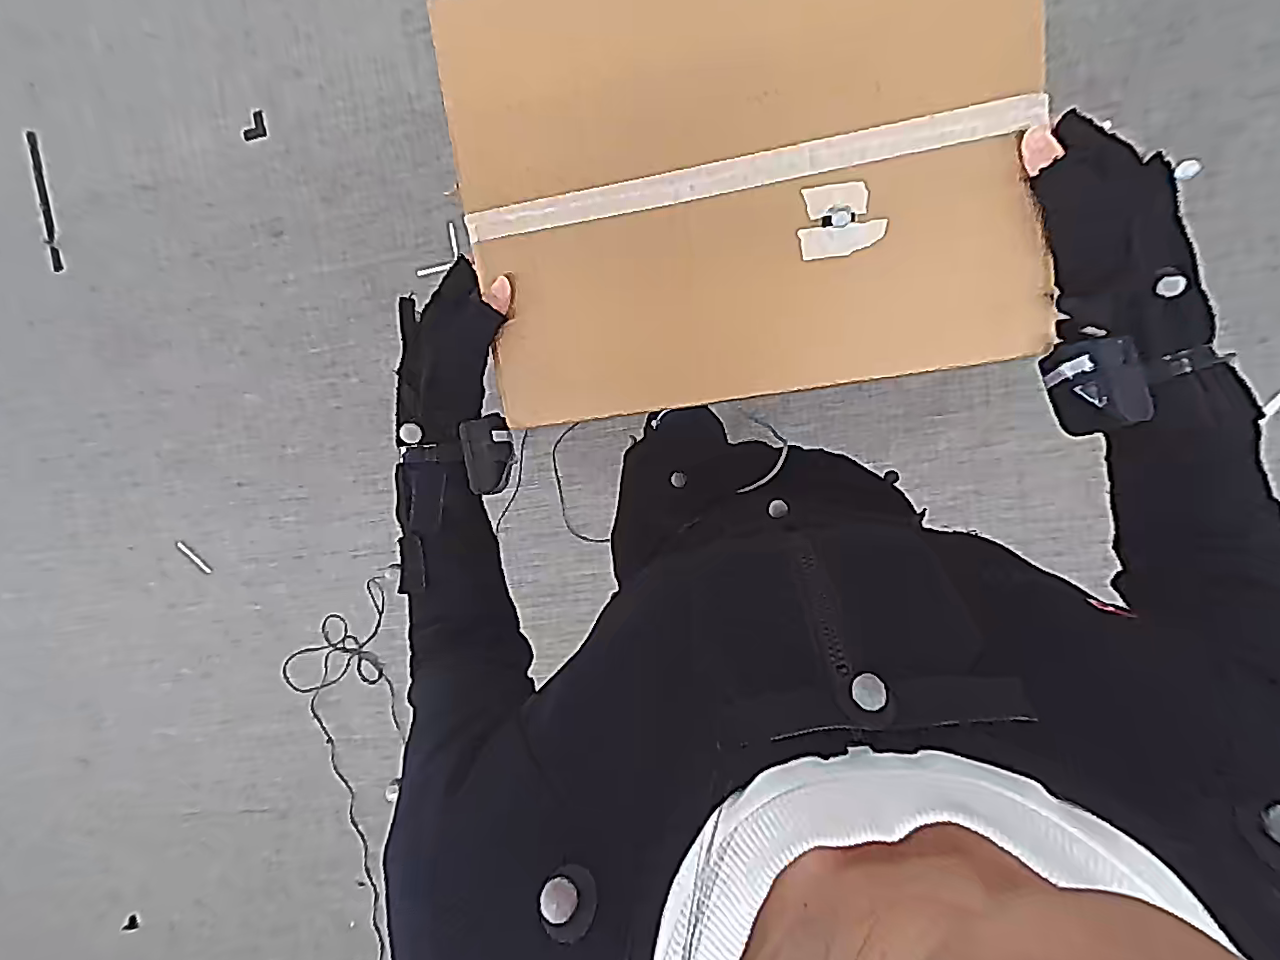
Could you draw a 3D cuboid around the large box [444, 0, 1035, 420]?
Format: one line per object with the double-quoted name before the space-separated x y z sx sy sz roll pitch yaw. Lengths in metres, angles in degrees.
"large box" 0.085 -0.250 0.543 0.408 0.320 0.320 -8 100 8
